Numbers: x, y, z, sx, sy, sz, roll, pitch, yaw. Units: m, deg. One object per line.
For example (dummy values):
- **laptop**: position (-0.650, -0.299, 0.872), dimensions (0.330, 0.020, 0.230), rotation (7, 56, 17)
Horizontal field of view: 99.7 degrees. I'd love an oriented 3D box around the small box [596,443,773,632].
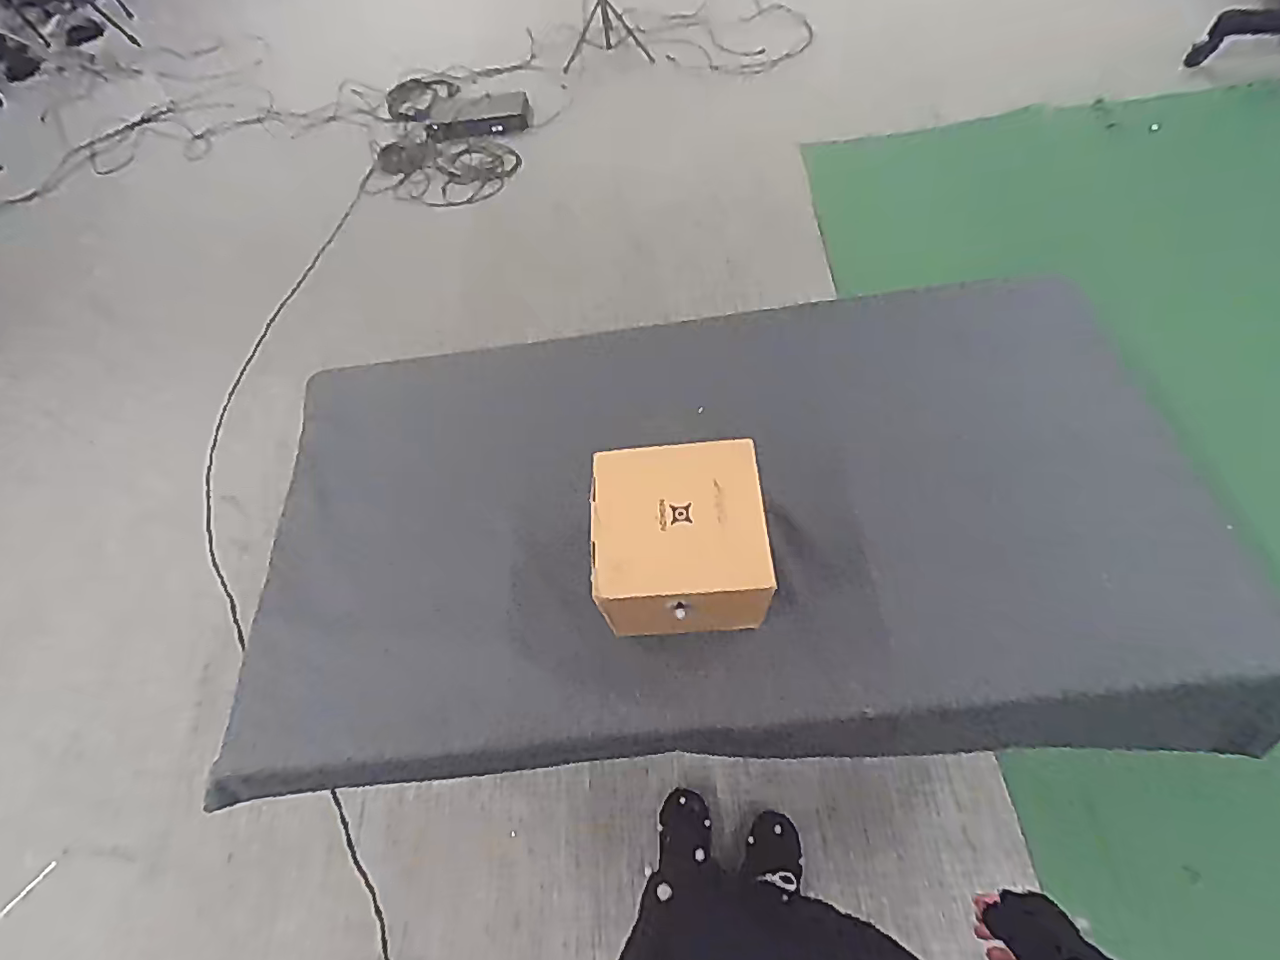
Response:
- **small box**: position (0.049, 0.076, 0.632), dimensions (0.179, 0.176, 0.168), rotation (-5, 62, 3)
